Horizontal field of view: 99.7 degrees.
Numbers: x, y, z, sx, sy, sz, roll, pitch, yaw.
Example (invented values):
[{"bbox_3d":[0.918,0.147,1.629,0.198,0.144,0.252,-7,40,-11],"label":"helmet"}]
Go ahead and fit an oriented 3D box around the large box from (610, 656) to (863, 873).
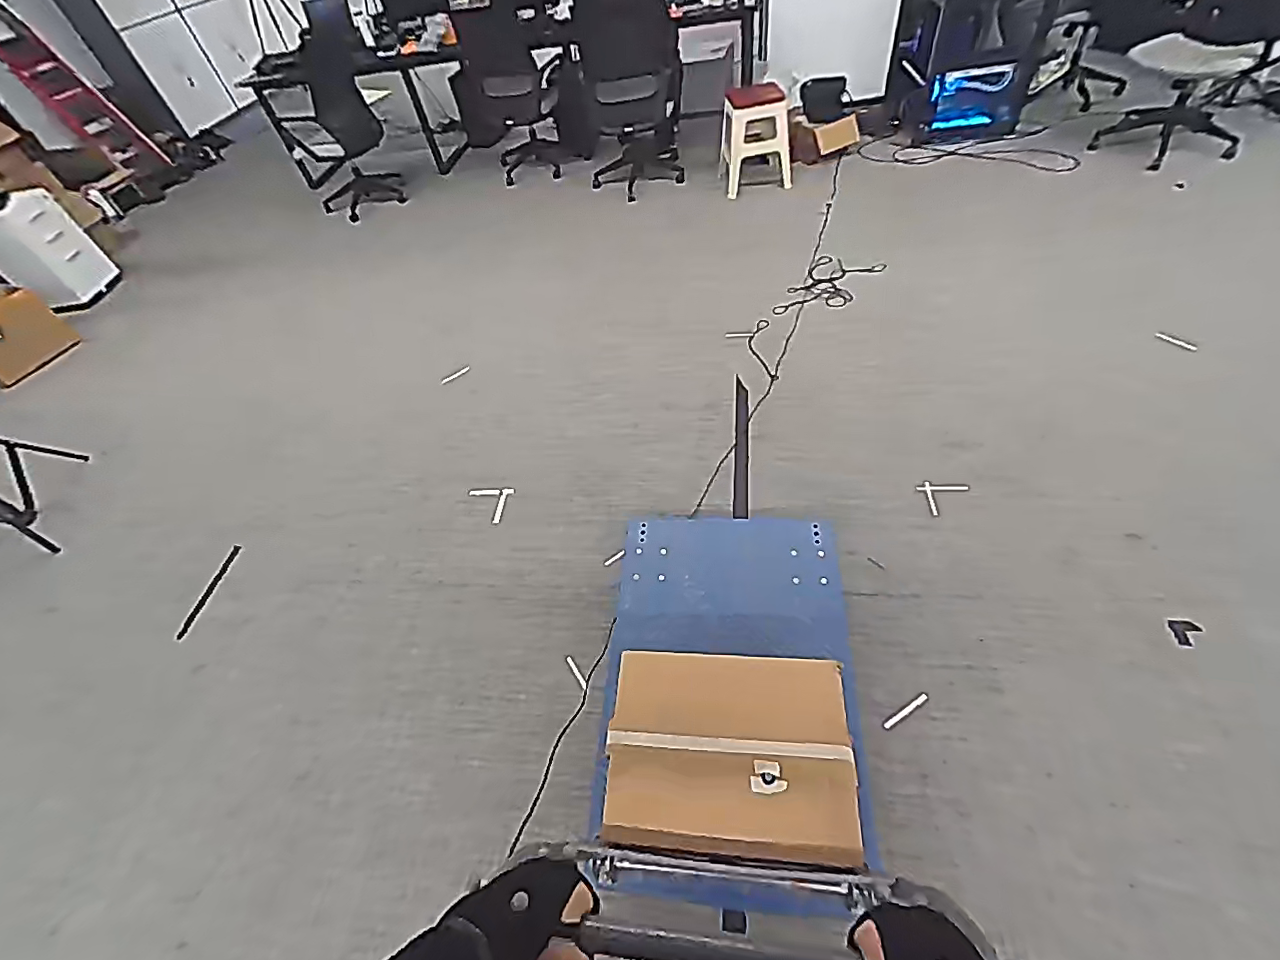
[{"bbox_3d":[0.174,0.556,1.055,0.408,0.320,0.320,0,53,9],"label":"large box"}]
